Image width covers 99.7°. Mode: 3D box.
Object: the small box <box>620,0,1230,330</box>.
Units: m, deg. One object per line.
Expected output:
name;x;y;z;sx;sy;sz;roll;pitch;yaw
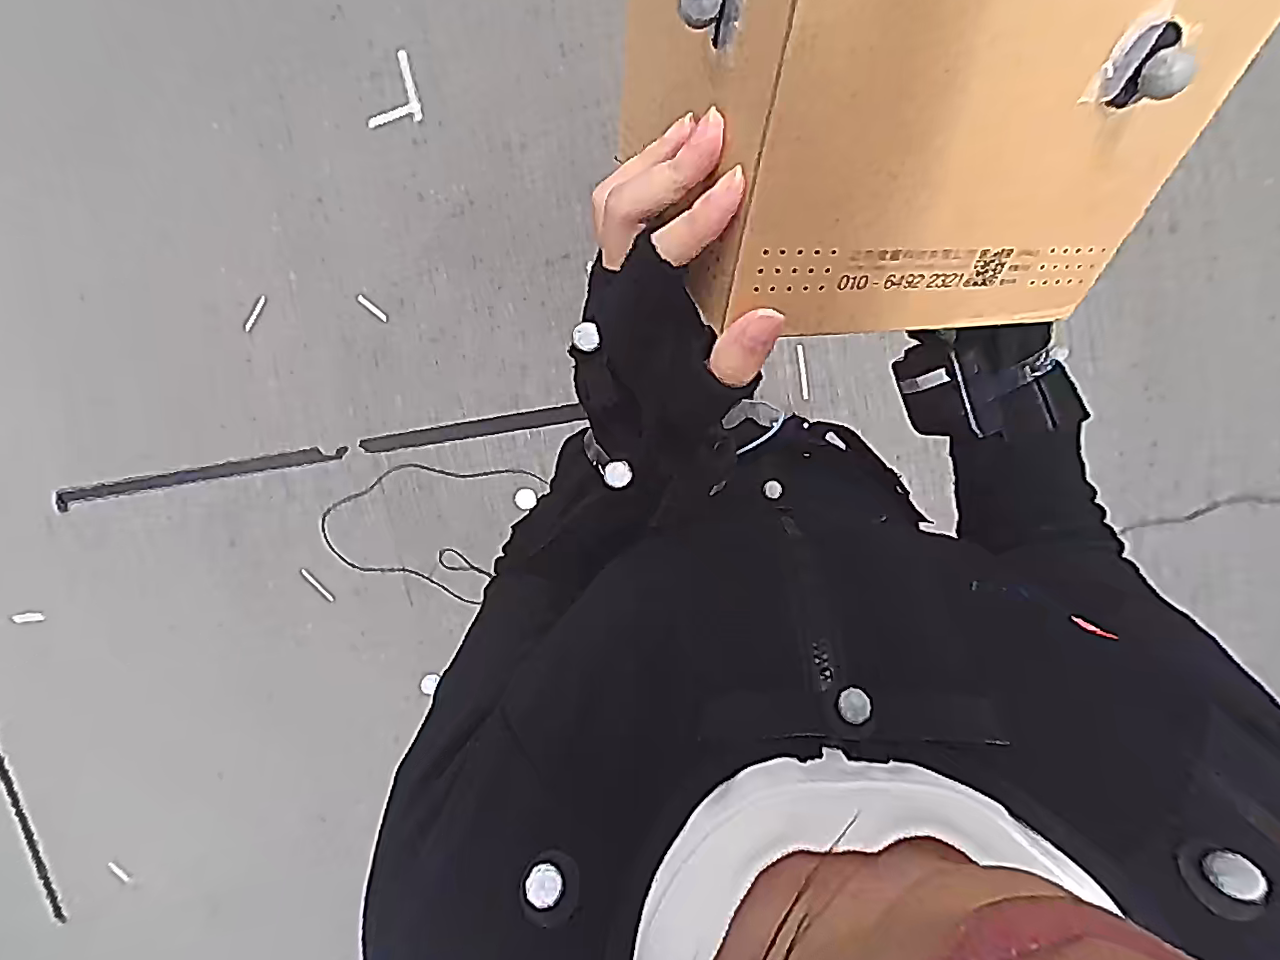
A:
small box;0.091;-0.175;0.225;0.168;0.179;0.176;-6;136;-13
